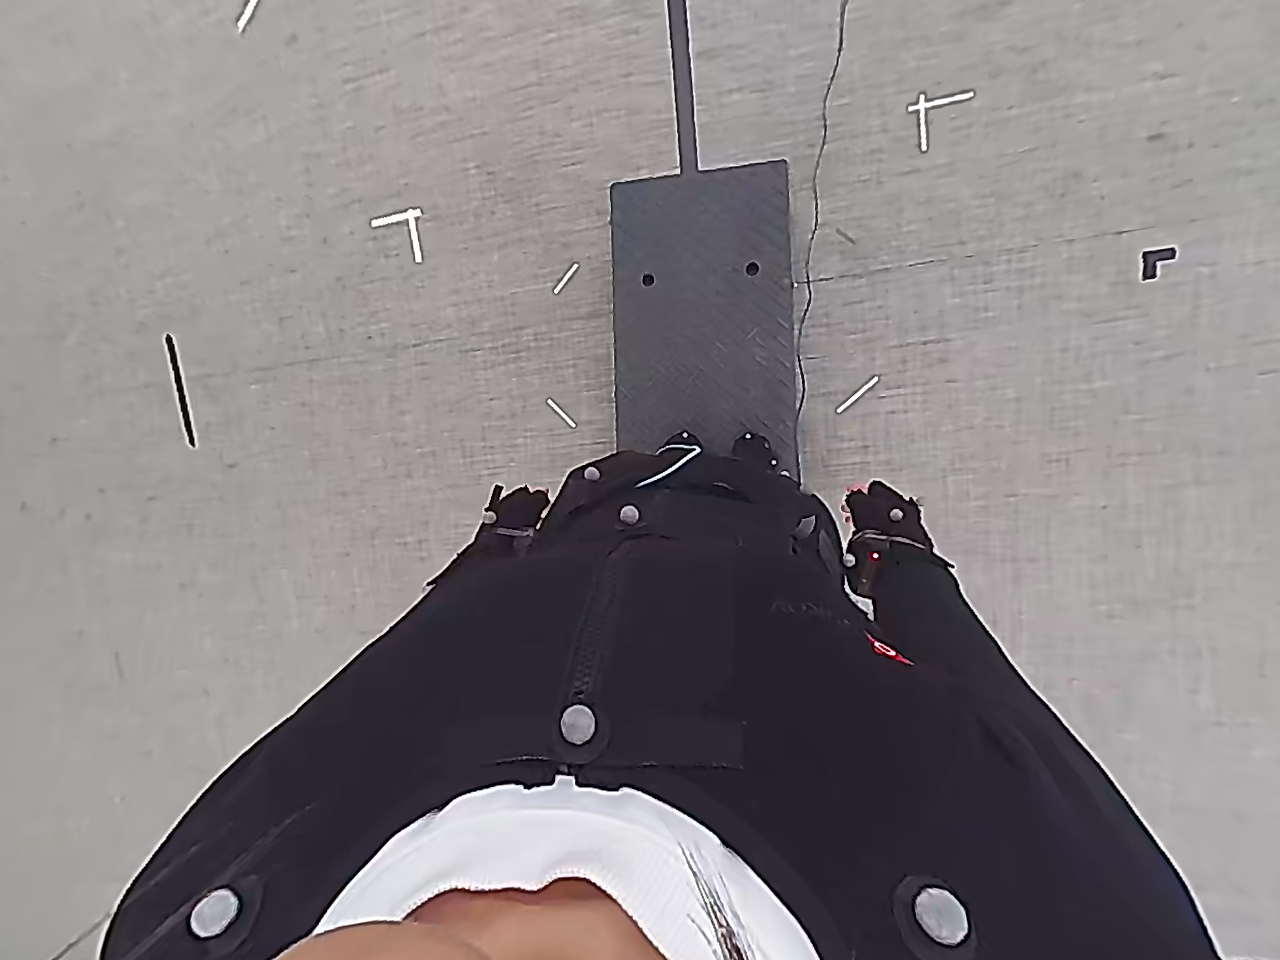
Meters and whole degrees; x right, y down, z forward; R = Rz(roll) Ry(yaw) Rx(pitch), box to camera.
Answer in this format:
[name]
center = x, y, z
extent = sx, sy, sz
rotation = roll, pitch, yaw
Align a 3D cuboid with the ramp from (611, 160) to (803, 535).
[ramp]
center = 0.168, -0.353, 1.471
extent = 0.509, 0.206, 0.991
rotation = -4, 97, 12
